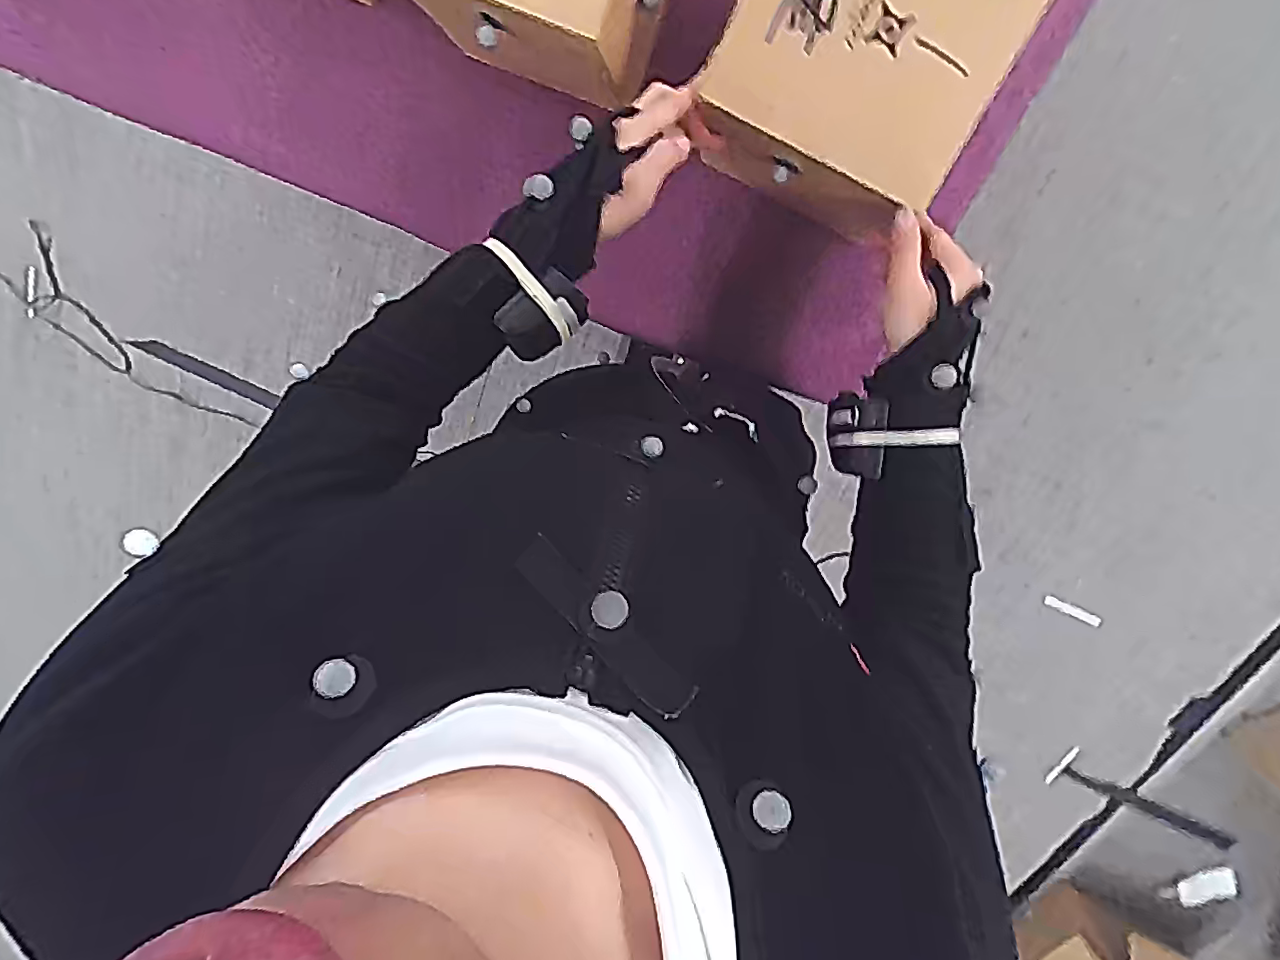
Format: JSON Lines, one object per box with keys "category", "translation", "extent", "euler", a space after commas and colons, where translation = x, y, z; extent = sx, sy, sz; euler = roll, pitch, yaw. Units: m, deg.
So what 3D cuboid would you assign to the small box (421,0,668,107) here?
{"category": "small box", "translation": [-0.065, -0.427, 0.422], "extent": [0.179, 0.176, 0.168], "euler": [22, 110, 1]}
